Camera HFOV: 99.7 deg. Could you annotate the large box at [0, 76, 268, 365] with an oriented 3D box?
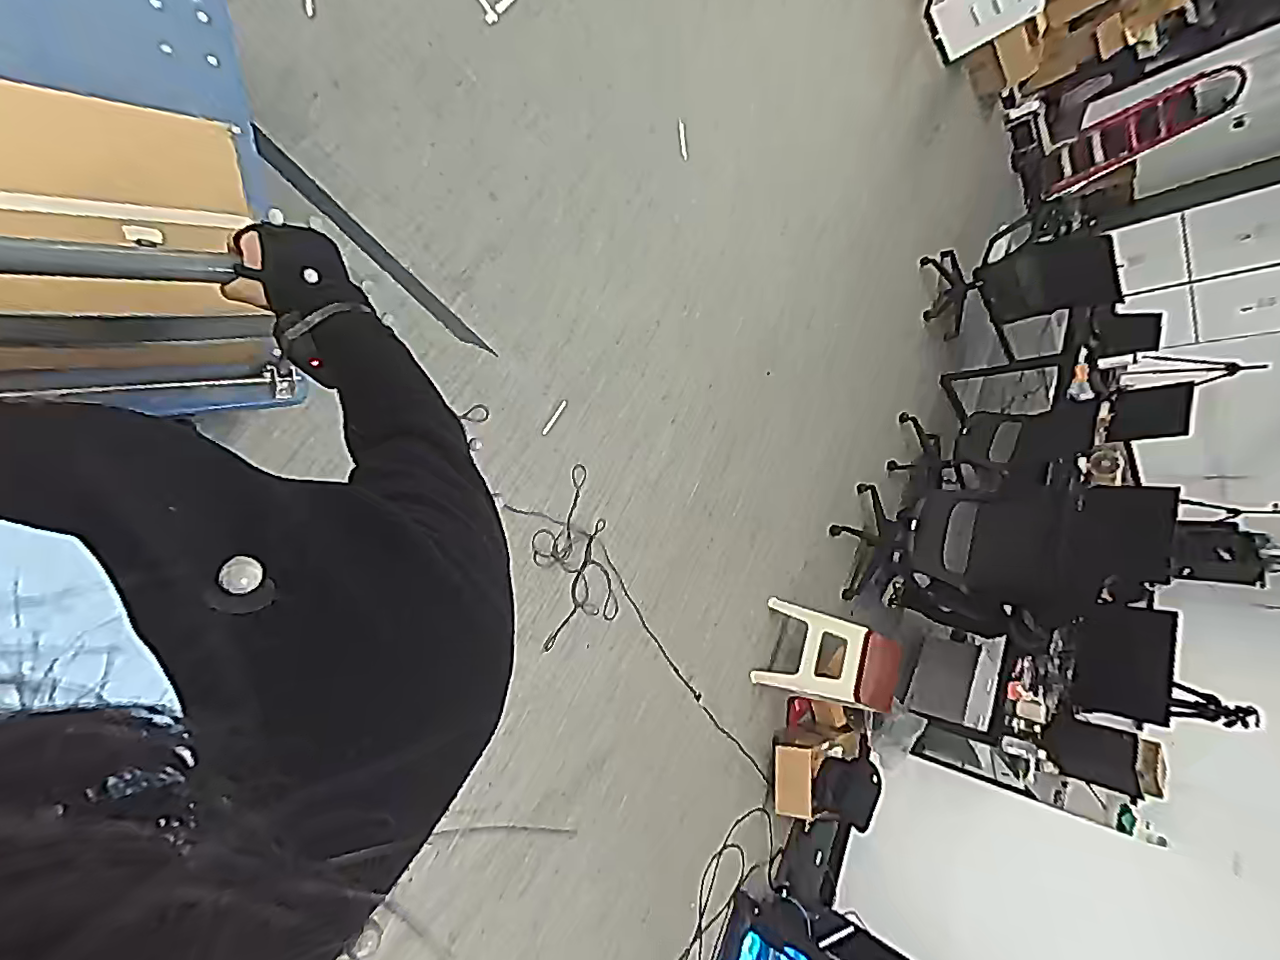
[{"bbox_3d":[-0.873,-0.371,0.842,0.408,0.320,0.320,-15,99,-42],"label":"large box"}]
